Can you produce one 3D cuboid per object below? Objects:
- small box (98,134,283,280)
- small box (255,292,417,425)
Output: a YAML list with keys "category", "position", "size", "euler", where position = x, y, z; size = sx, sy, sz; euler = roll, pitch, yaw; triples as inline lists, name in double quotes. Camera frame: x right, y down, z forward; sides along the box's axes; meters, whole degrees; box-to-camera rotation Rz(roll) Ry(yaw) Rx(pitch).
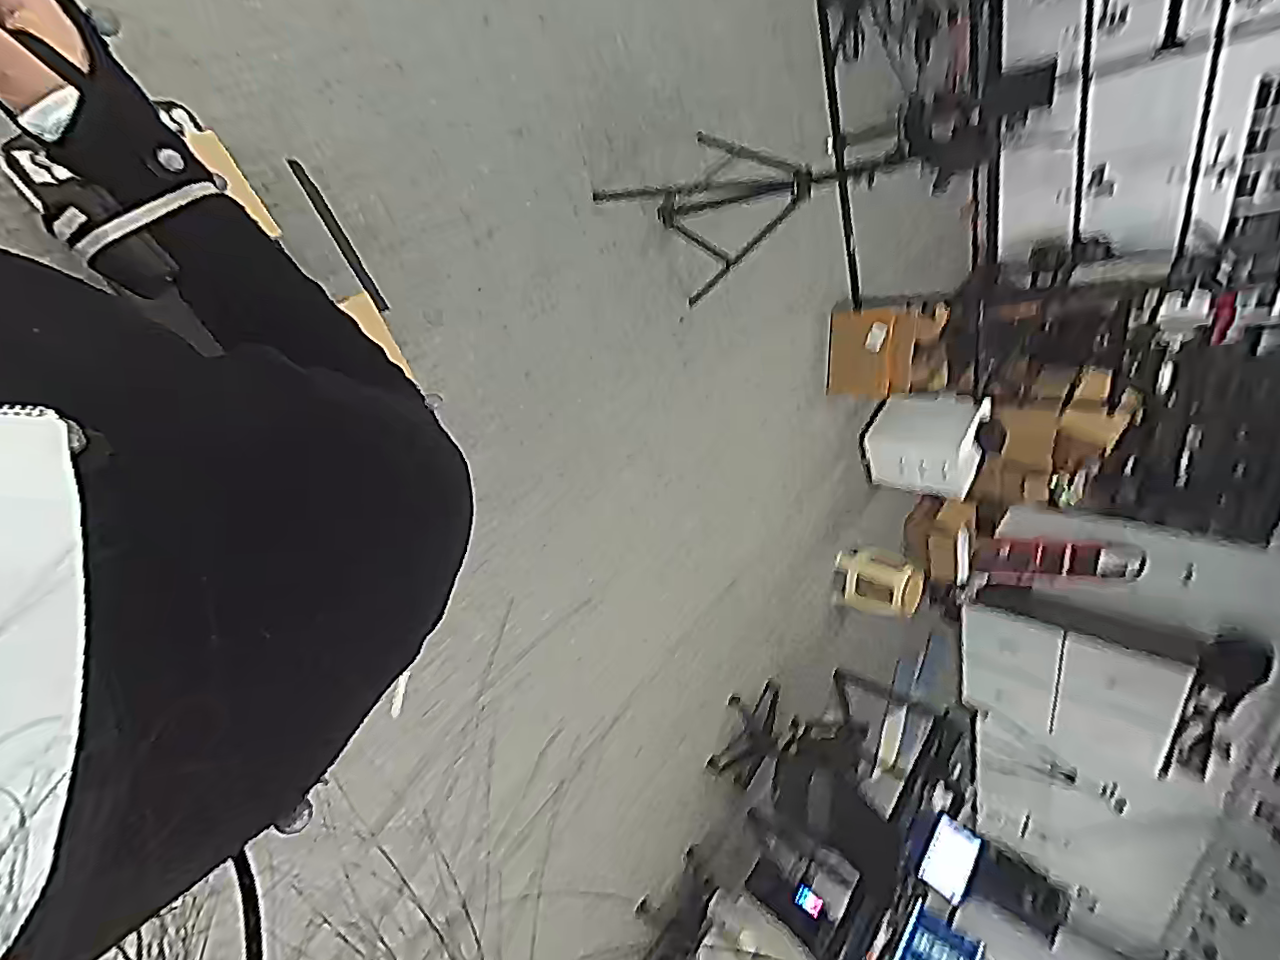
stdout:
- category: "small box"
  position: [-0.758, -0.453, 0.913]
  size: [0.179, 0.176, 0.168]
  euler: [-43, 127, -29]
- category: "small box"
  position: [-0.540, -0.214, 0.958]
  size: [0.168, 0.176, 0.179]
  euler: [-40, 124, -32]
